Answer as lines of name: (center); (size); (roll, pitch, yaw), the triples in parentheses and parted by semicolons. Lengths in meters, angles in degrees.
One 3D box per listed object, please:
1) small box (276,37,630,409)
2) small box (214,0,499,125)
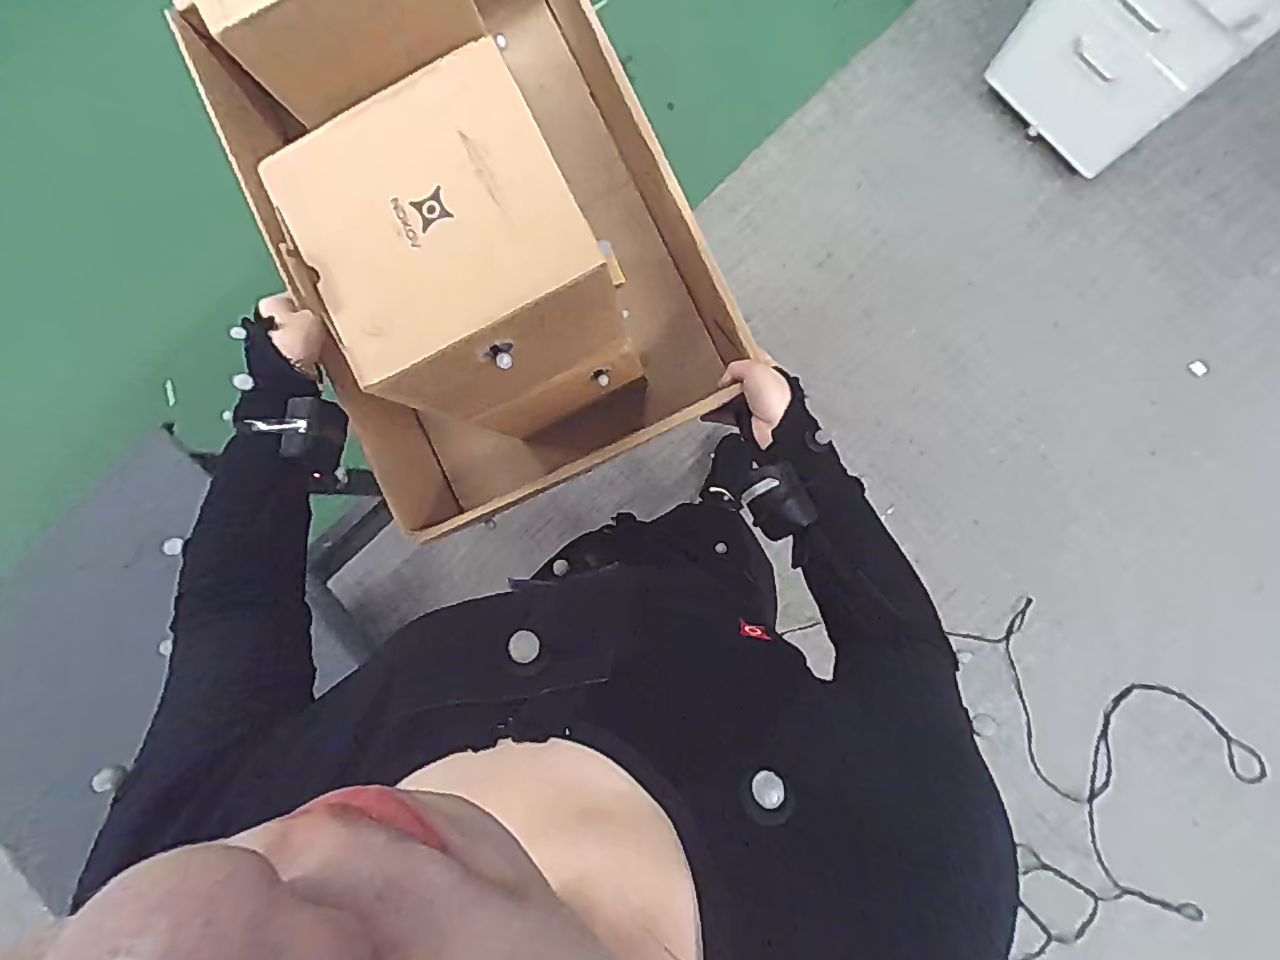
small box: (-0.121, -0.169, 0.422); (0.179, 0.176, 0.168); (-26, 88, 2)
small box: (-0.222, -0.401, 0.426); (0.168, 0.176, 0.179); (-24, 91, 3)
